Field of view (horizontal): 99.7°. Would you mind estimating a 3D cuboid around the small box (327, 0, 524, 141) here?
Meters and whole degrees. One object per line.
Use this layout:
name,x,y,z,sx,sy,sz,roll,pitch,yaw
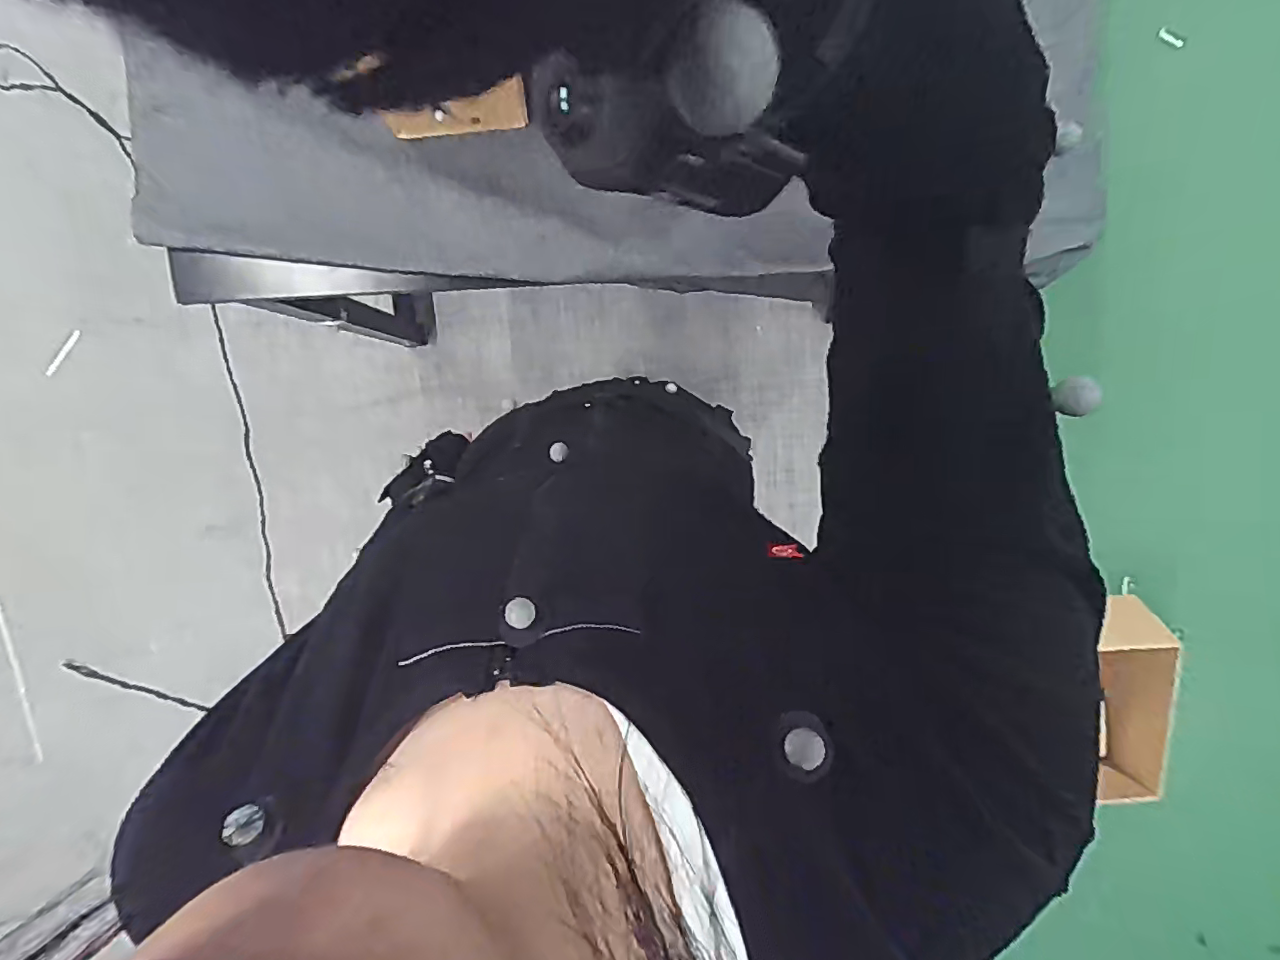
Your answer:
small box,-0.231,-0.515,0.603,0.168,0.176,0.179,-7,99,-3
